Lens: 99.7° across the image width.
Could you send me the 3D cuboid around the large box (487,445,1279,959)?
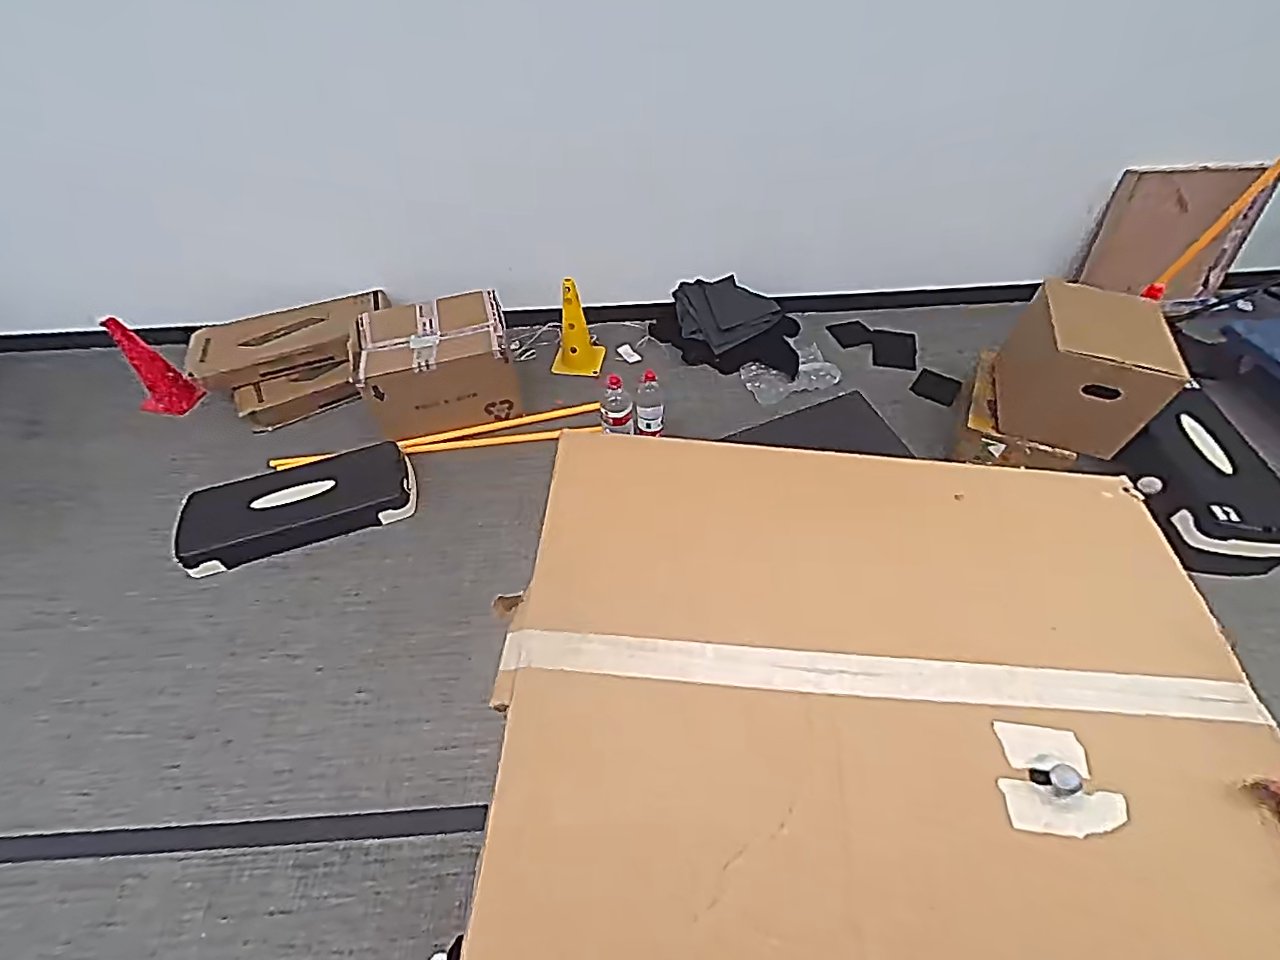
[{"bbox_3d":[0.125,0.200,0.423,0.408,0.320,0.320,6,55,-2],"label":"large box"}]
